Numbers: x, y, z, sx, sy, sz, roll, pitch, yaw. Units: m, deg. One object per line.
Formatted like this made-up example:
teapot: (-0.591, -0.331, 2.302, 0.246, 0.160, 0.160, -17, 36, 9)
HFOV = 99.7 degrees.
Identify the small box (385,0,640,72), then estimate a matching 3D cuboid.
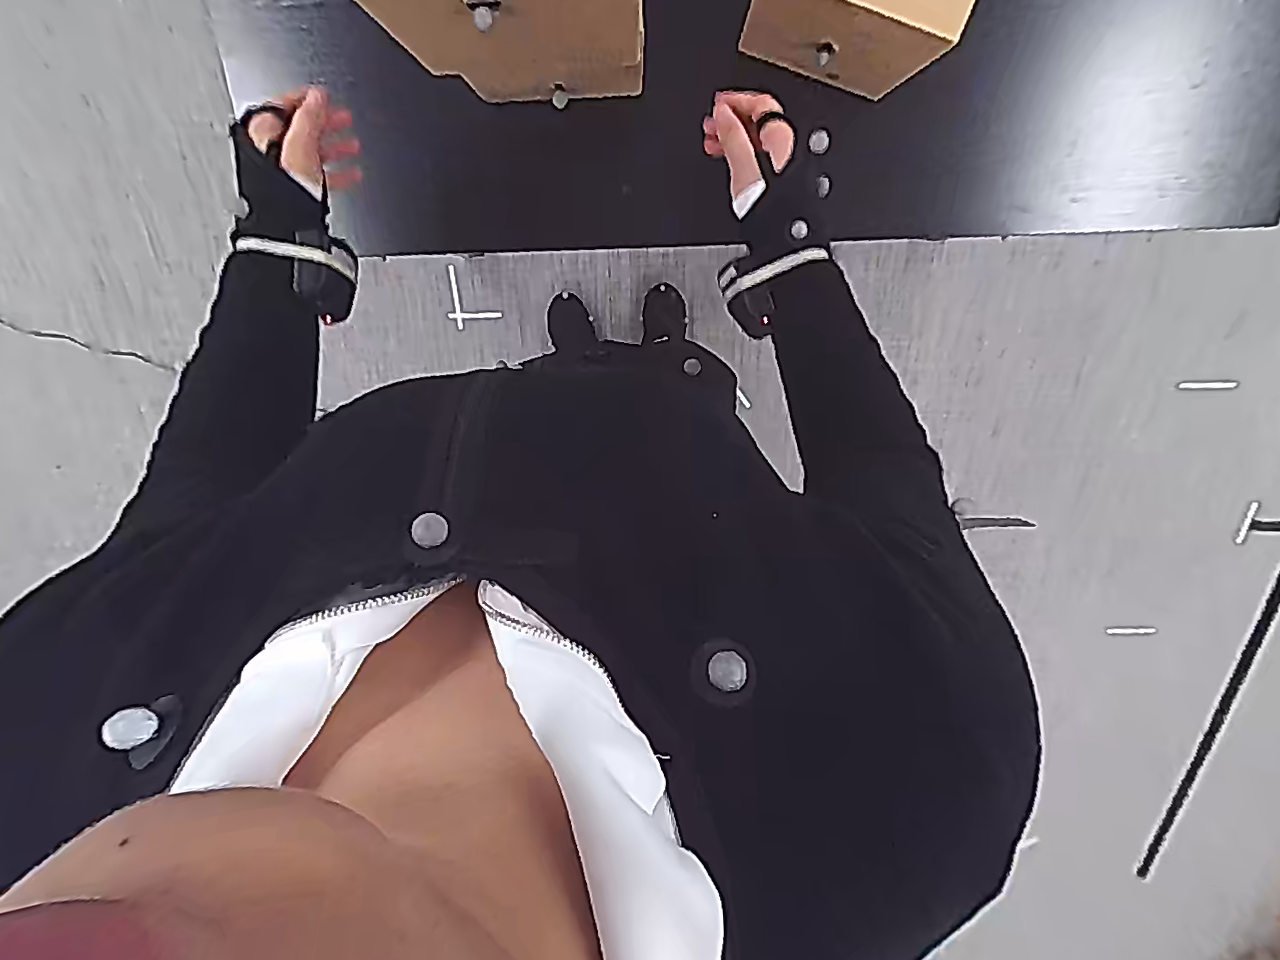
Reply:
small box: (-0.089, -0.394, 0.356, 0.179, 0.176, 0.168, -2, 111, 0)

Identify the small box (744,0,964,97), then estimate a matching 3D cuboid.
small box: (0.206, -0.493, 0.497, 0.168, 0.176, 0.179, 15, 110, -7)

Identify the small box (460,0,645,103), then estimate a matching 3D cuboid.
small box: (-0.088, -0.472, 0.503, 0.179, 0.176, 0.168, -3, 111, 0)
